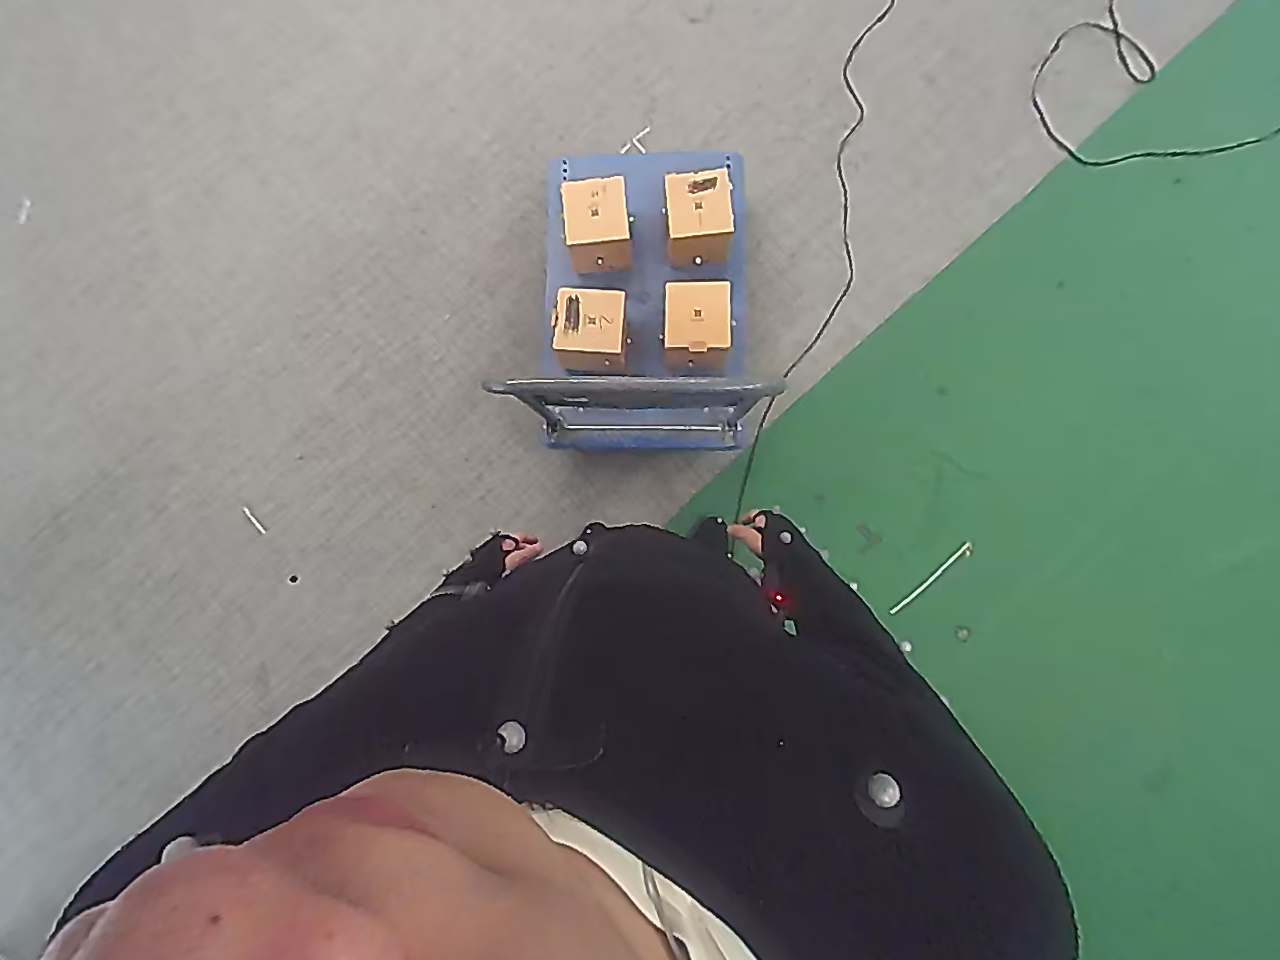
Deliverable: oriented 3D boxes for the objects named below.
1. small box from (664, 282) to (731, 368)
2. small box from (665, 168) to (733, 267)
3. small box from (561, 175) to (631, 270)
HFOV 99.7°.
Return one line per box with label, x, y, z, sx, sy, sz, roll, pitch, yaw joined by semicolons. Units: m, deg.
small box;0.148;-0.407;1.436;0.168;0.176;0.179;0;85;2
small box;0.154;-0.702;1.460;0.168;0.176;0.179;-5;86;3
small box;-0.115;-0.689;1.471;0.168;0.176;0.179;-5;85;1
